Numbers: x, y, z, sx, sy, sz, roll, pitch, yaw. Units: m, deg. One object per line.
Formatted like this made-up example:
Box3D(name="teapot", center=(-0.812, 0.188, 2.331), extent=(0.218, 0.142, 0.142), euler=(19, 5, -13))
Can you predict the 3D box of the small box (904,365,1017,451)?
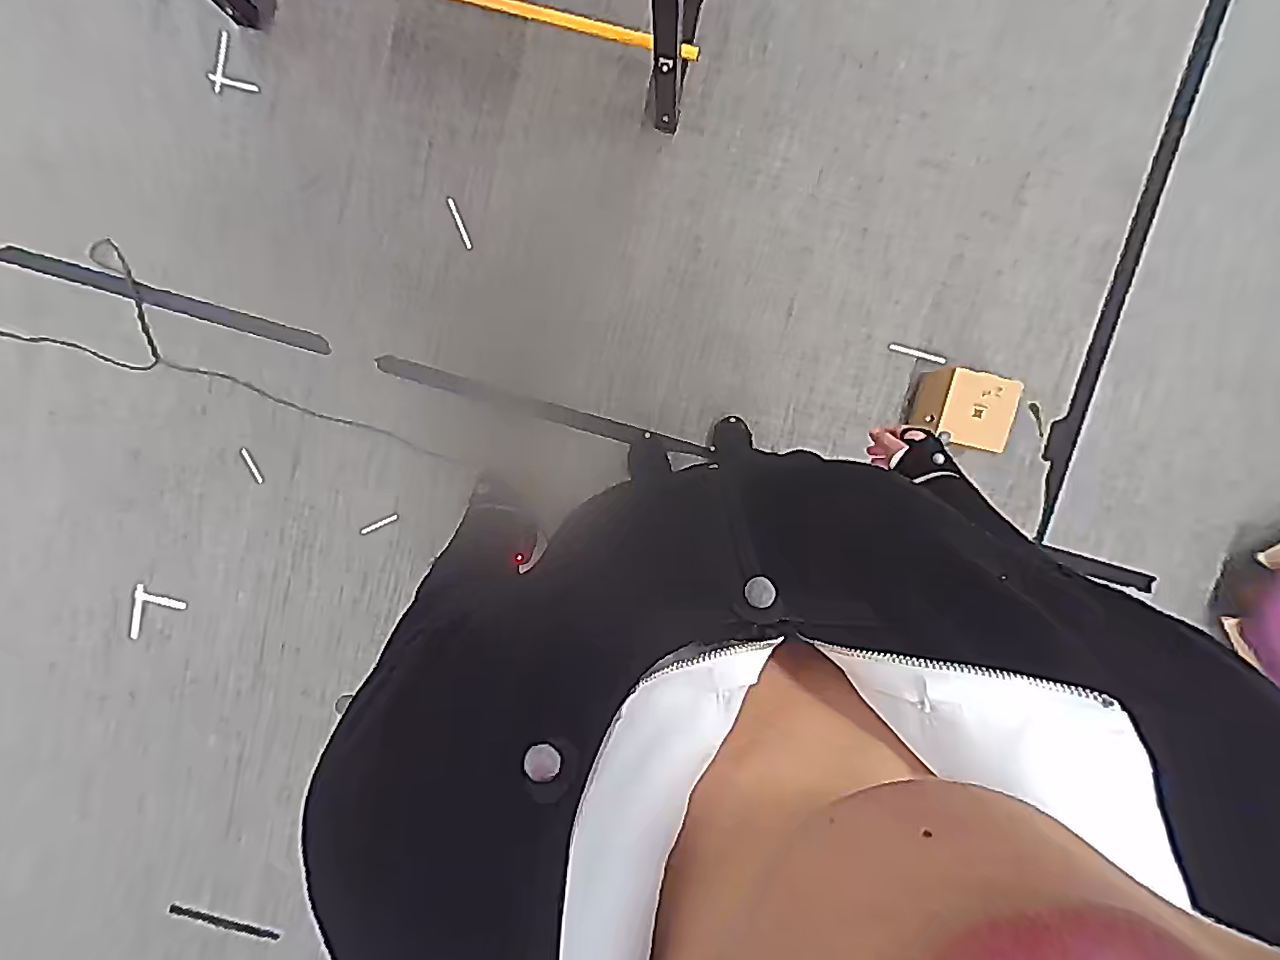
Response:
Box3D(name="small box", center=(0.800, -0.180, 1.372), extent=(0.168, 0.176, 0.179), euler=(14, 96, 0))
